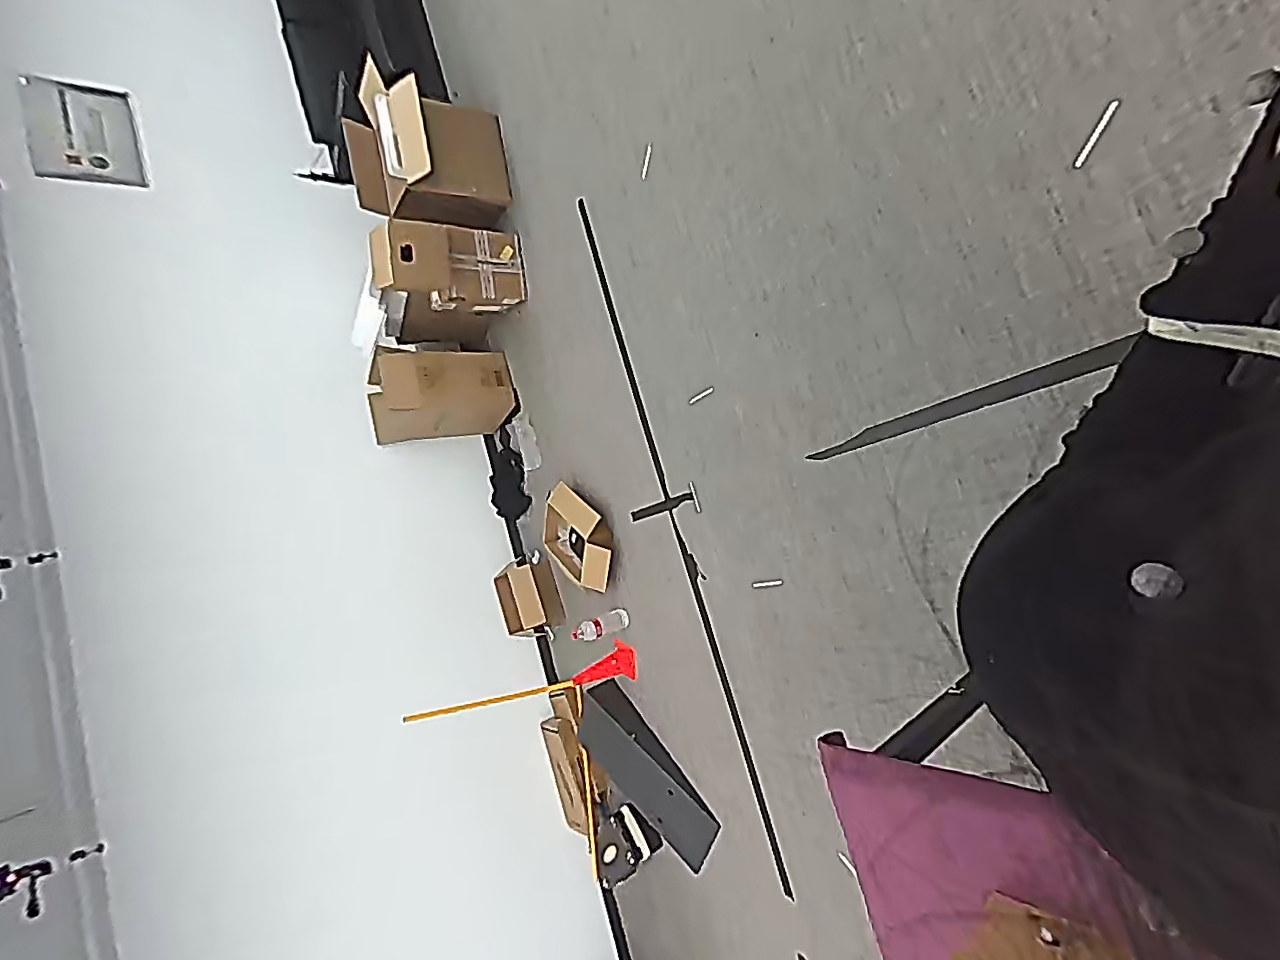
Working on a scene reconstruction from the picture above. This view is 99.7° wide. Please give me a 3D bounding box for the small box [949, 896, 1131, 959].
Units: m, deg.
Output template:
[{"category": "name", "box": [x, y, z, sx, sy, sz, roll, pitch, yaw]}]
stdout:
[{"category": "small box", "box": [0.538, 0.705, 0.700, 0.168, 0.176, 0.179, -20, 83, 55]}]
